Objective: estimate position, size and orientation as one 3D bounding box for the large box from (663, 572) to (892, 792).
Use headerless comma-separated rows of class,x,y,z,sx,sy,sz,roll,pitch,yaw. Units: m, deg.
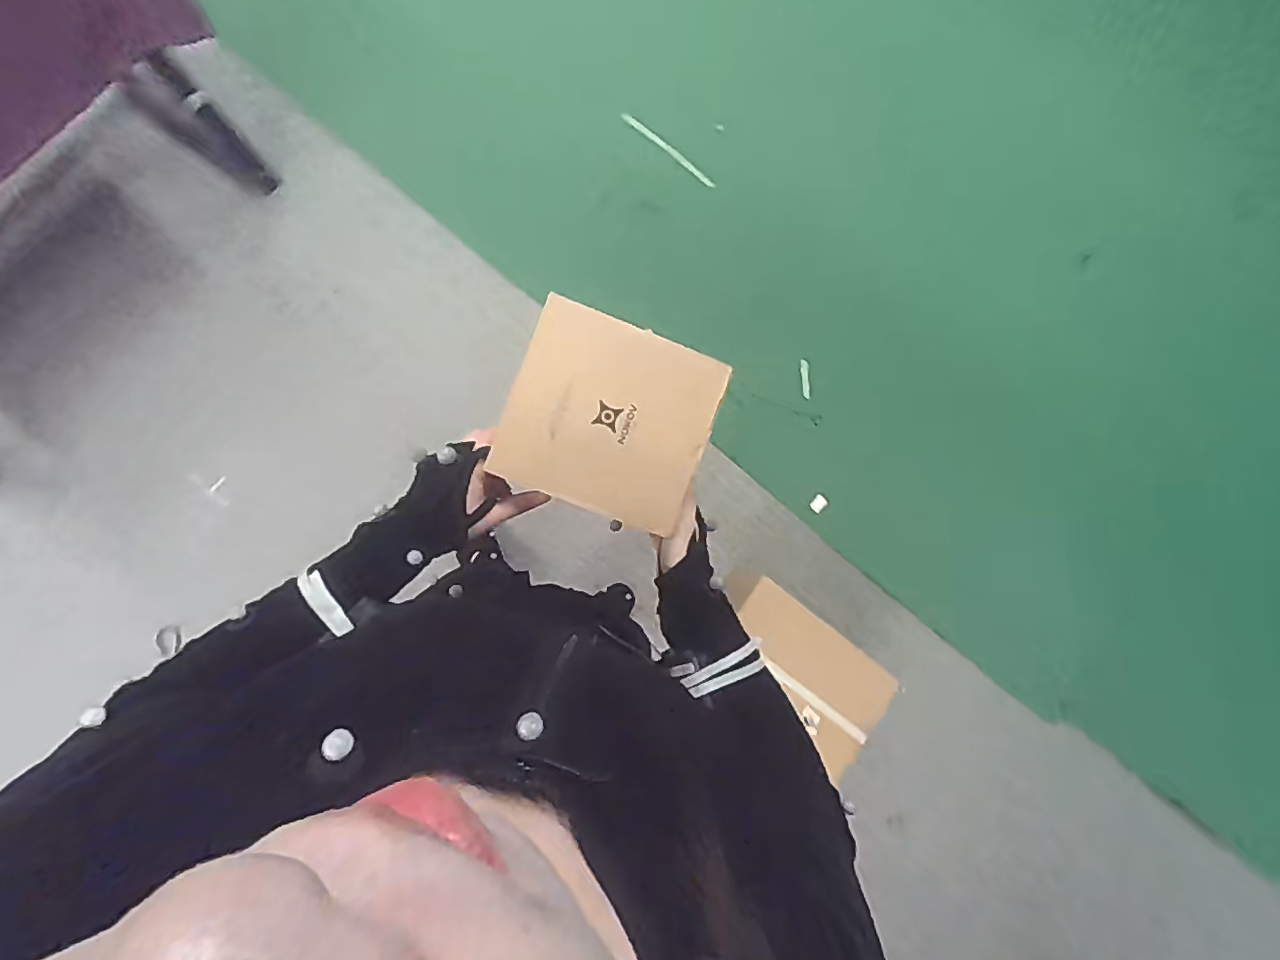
large box,0.320,0.475,1.368,0.408,0.320,0.320,40,81,0
